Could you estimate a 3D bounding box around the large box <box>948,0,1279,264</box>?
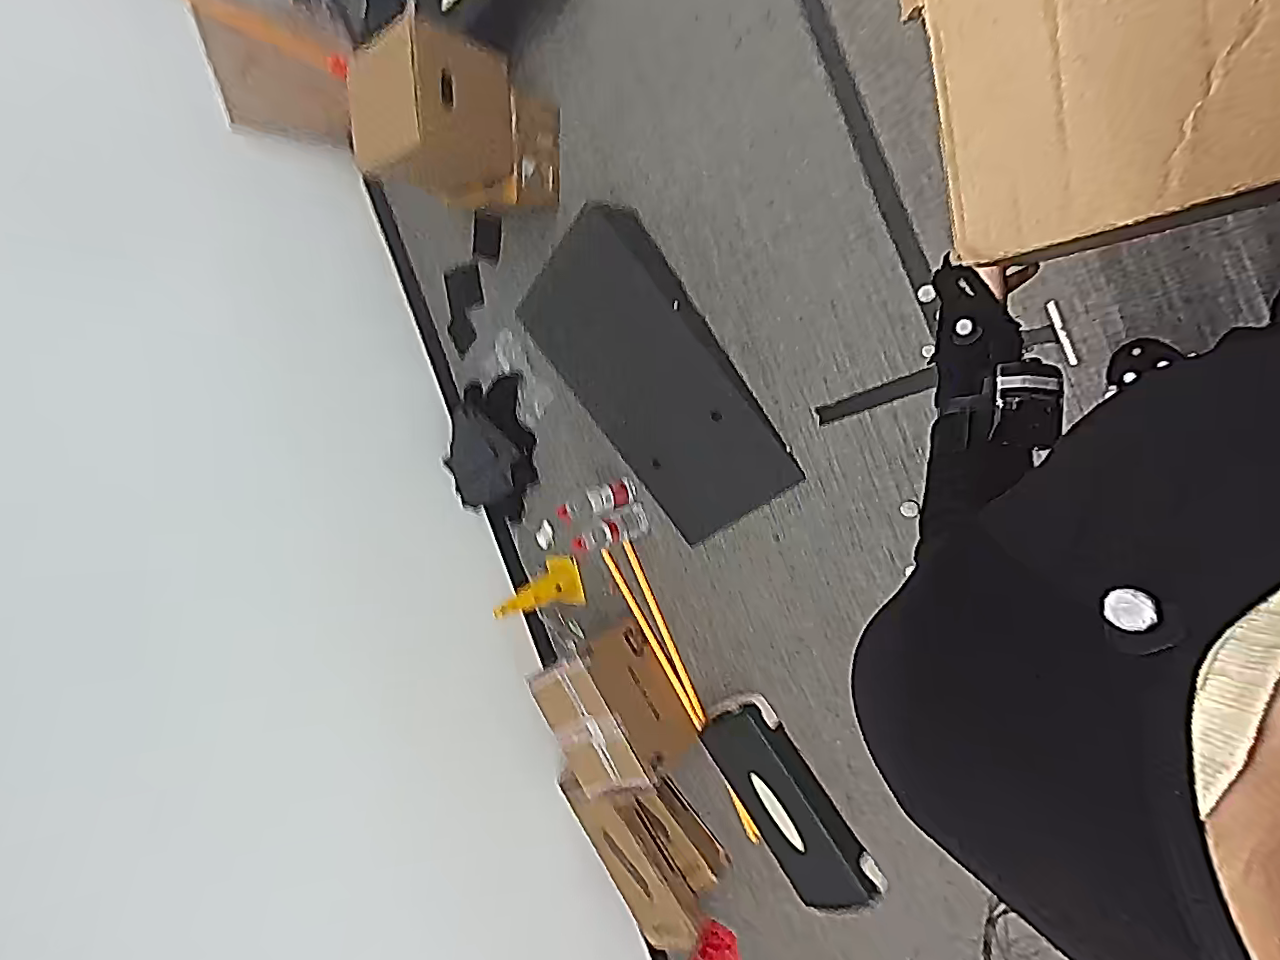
[{"bbox_3d":[0.384,-0.317,0.244,0.408,0.320,0.320,-4,105,40],"label":"large box"}]
